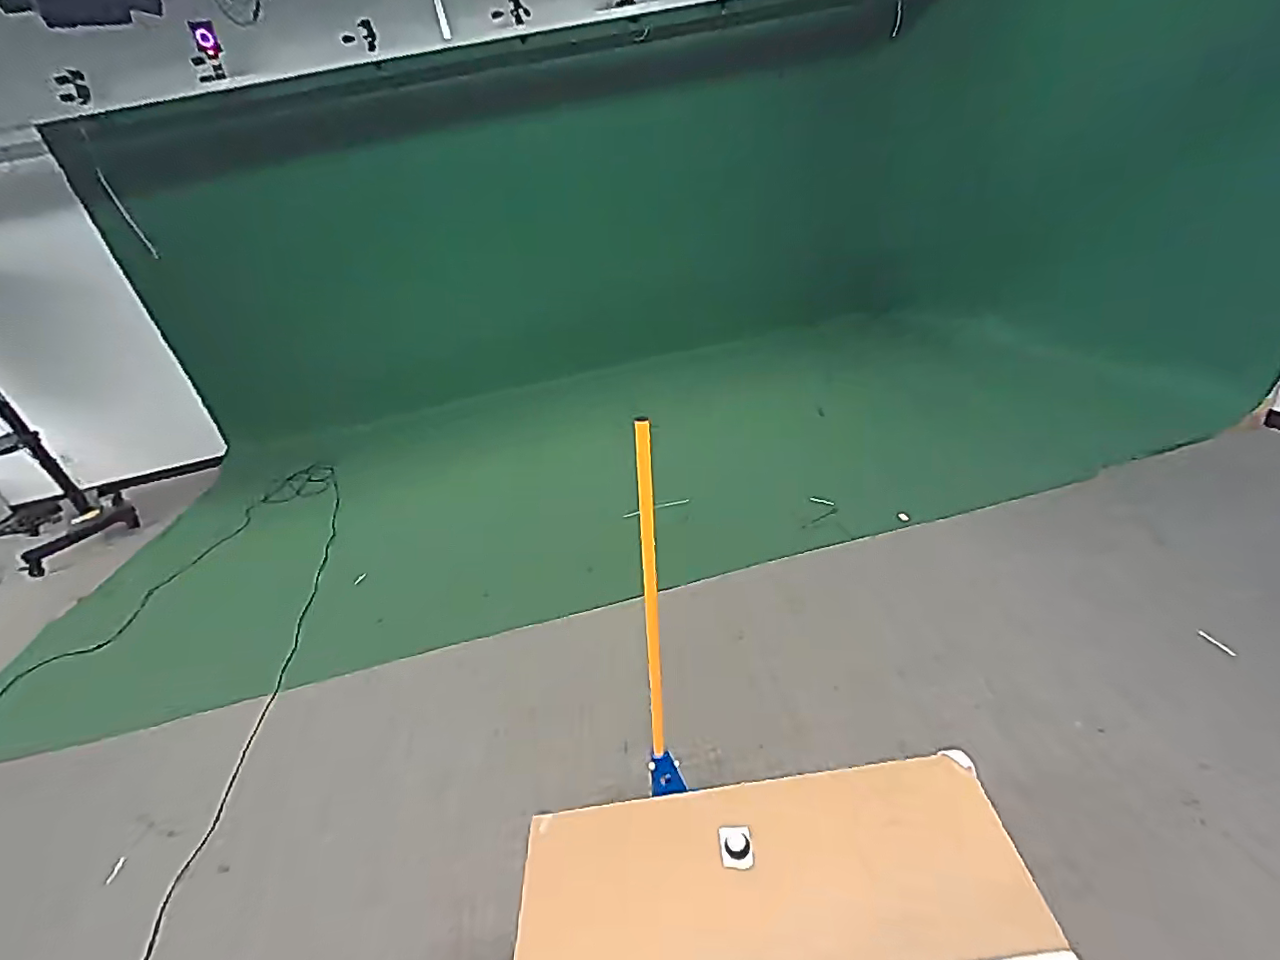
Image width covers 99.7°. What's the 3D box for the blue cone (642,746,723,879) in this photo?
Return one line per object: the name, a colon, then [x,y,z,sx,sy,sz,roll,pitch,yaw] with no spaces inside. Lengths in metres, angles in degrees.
blue cone: [0.084,0.800,1.371,0.193,0.380,0.192,-14,29,-7]
